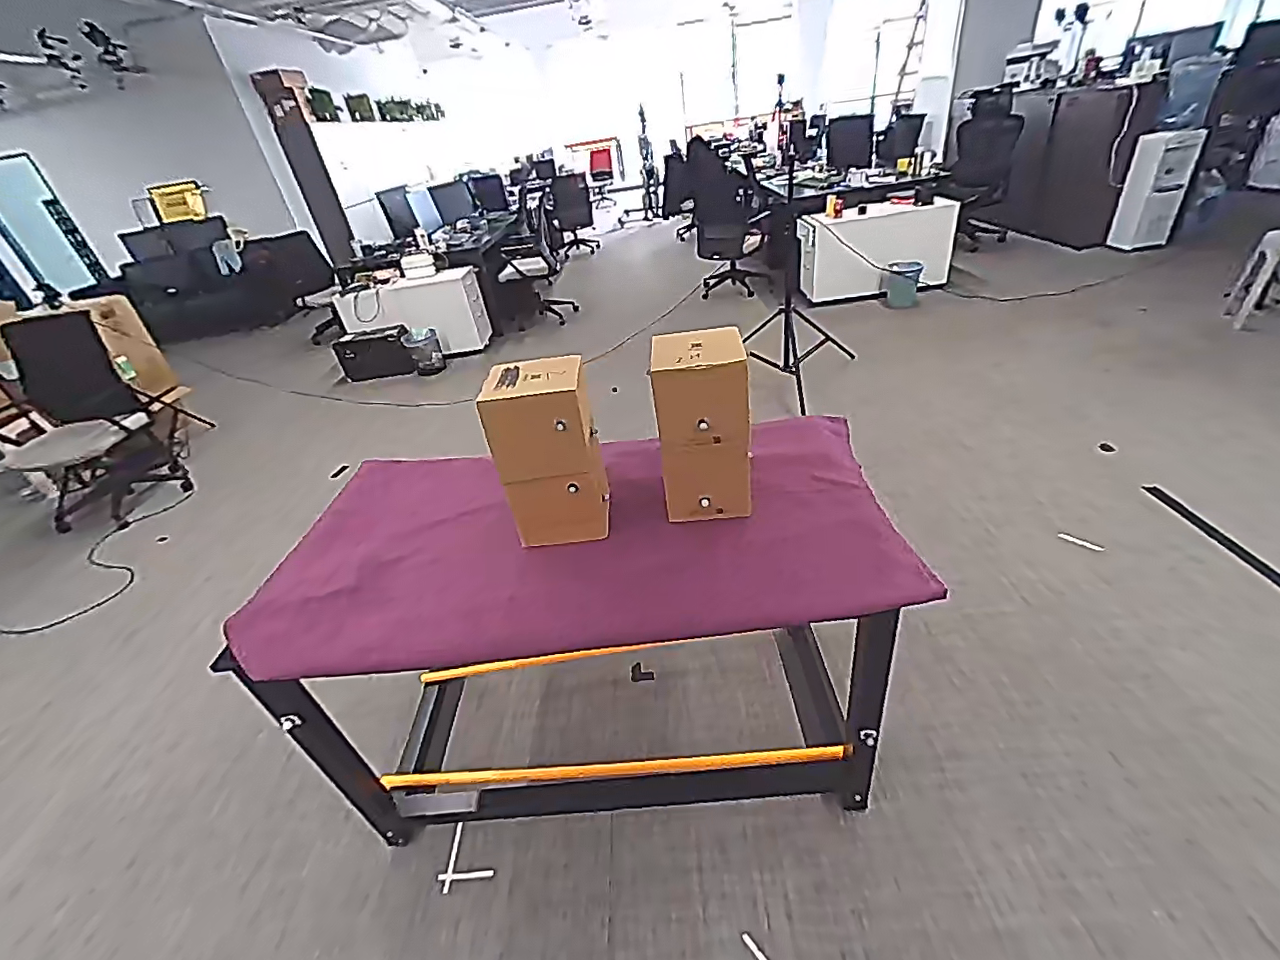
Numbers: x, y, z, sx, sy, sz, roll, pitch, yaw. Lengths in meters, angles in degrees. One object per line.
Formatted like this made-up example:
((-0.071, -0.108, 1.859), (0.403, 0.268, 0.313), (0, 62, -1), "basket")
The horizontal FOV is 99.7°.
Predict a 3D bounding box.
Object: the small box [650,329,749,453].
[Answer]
((0.113, -0.169, 1.021), (0.168, 0.176, 0.179), (-6, 34, 7), "small box")

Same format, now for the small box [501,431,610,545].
((-0.165, 0.019, 1.113), (0.179, 0.176, 0.168), (-7, 33, 3), "small box")

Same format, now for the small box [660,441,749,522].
((0.133, -0.033, 1.113), (0.168, 0.176, 0.179), (-5, 34, 7), "small box")
